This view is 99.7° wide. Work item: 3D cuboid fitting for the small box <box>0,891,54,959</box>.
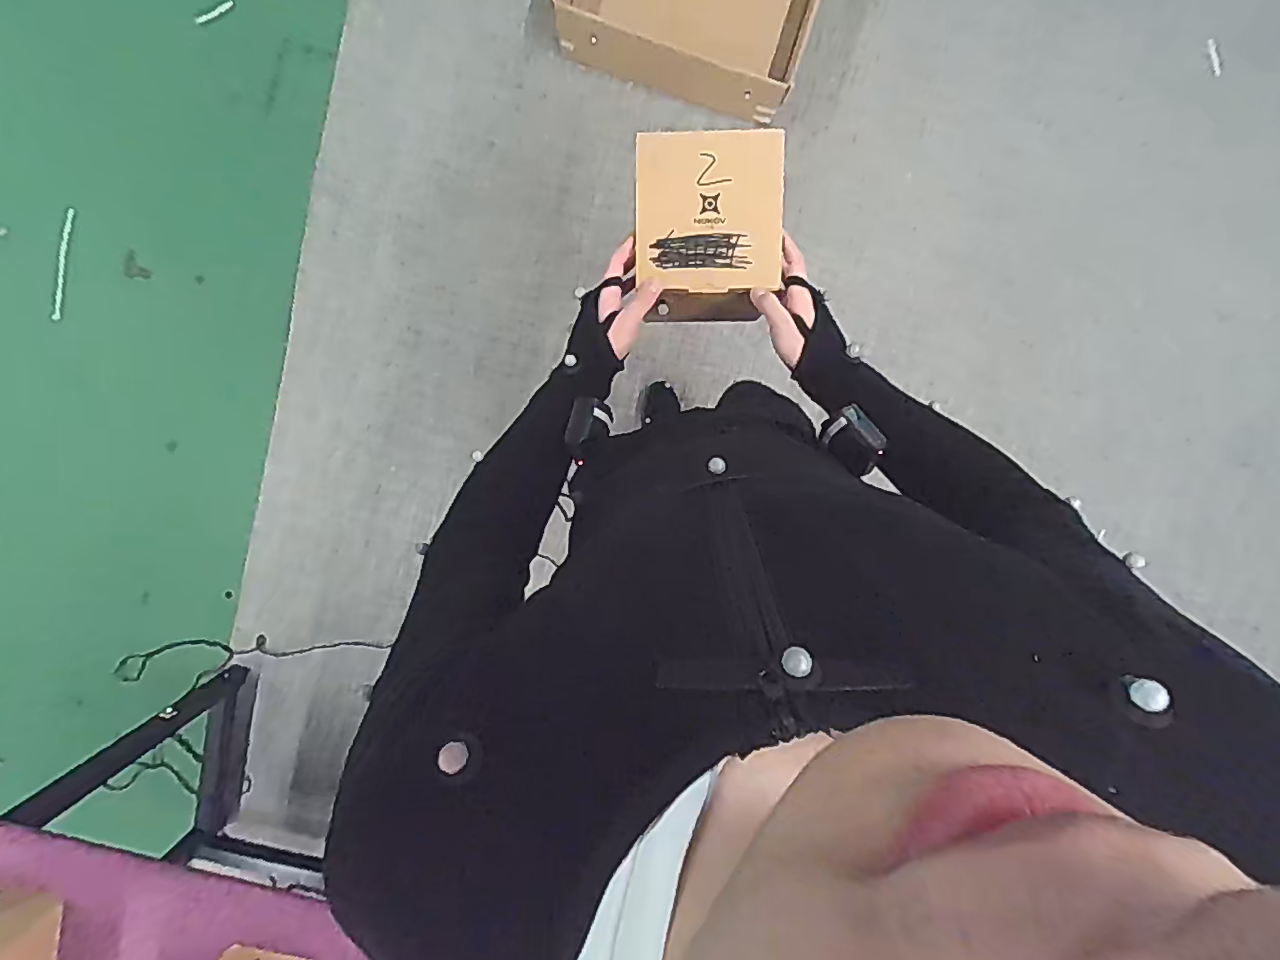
[{"bbox_3d":[-1.166,0.846,0.916,0.168,0.176,0.179,16,98,-4],"label":"small box"}]
